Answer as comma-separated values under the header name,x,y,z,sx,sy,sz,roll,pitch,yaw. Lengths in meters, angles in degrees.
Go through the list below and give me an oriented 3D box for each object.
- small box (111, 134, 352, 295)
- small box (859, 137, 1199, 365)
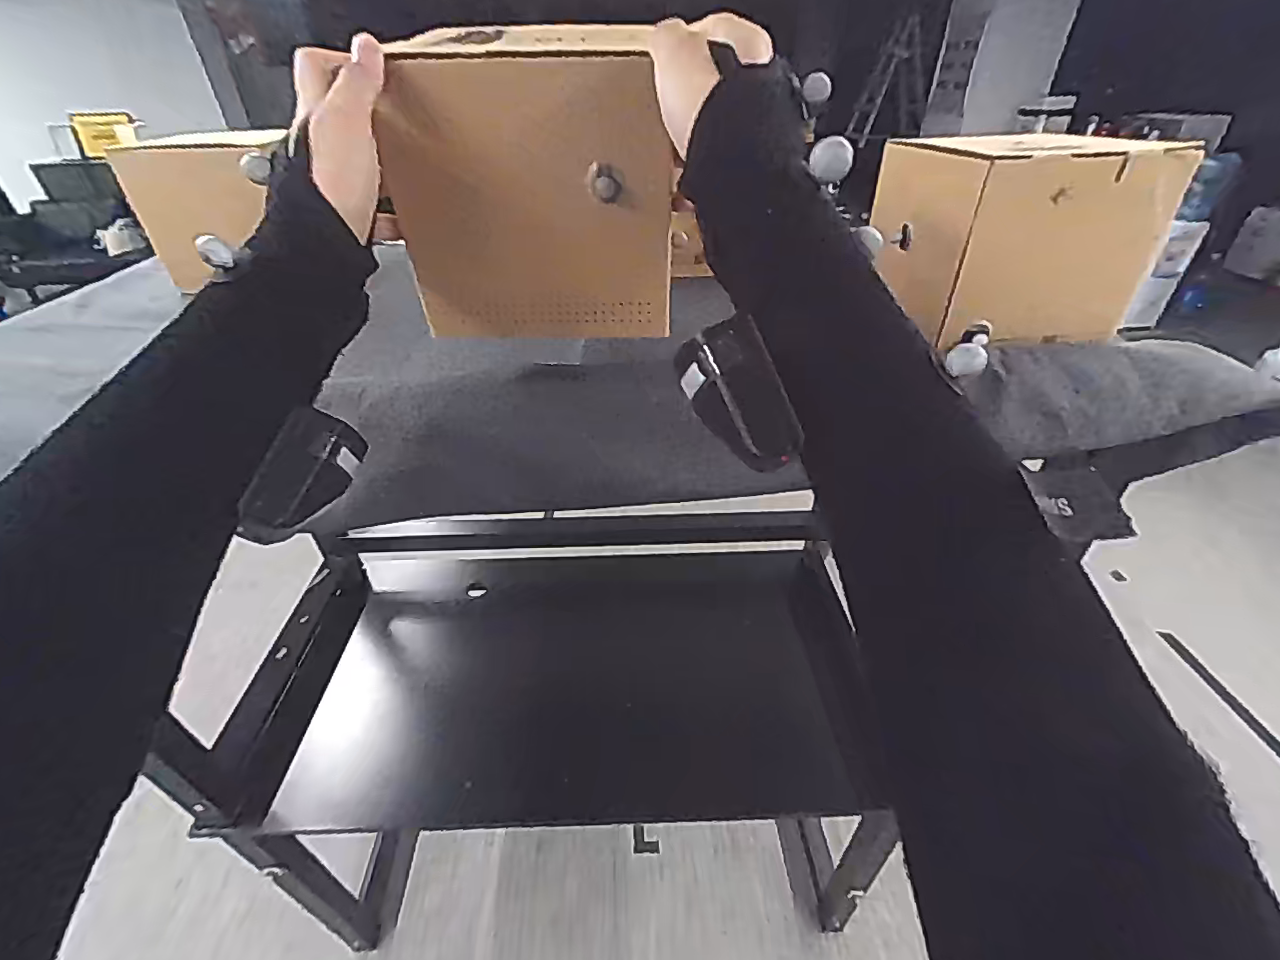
name,x,y,z,sx,sy,sz,roll,pitch,yaw
small box,-0.521,-0.357,0.729,0.179,0.176,0.168,-2,37,-3
small box,0.332,-0.215,0.511,0.168,0.176,0.179,-4,35,-3
